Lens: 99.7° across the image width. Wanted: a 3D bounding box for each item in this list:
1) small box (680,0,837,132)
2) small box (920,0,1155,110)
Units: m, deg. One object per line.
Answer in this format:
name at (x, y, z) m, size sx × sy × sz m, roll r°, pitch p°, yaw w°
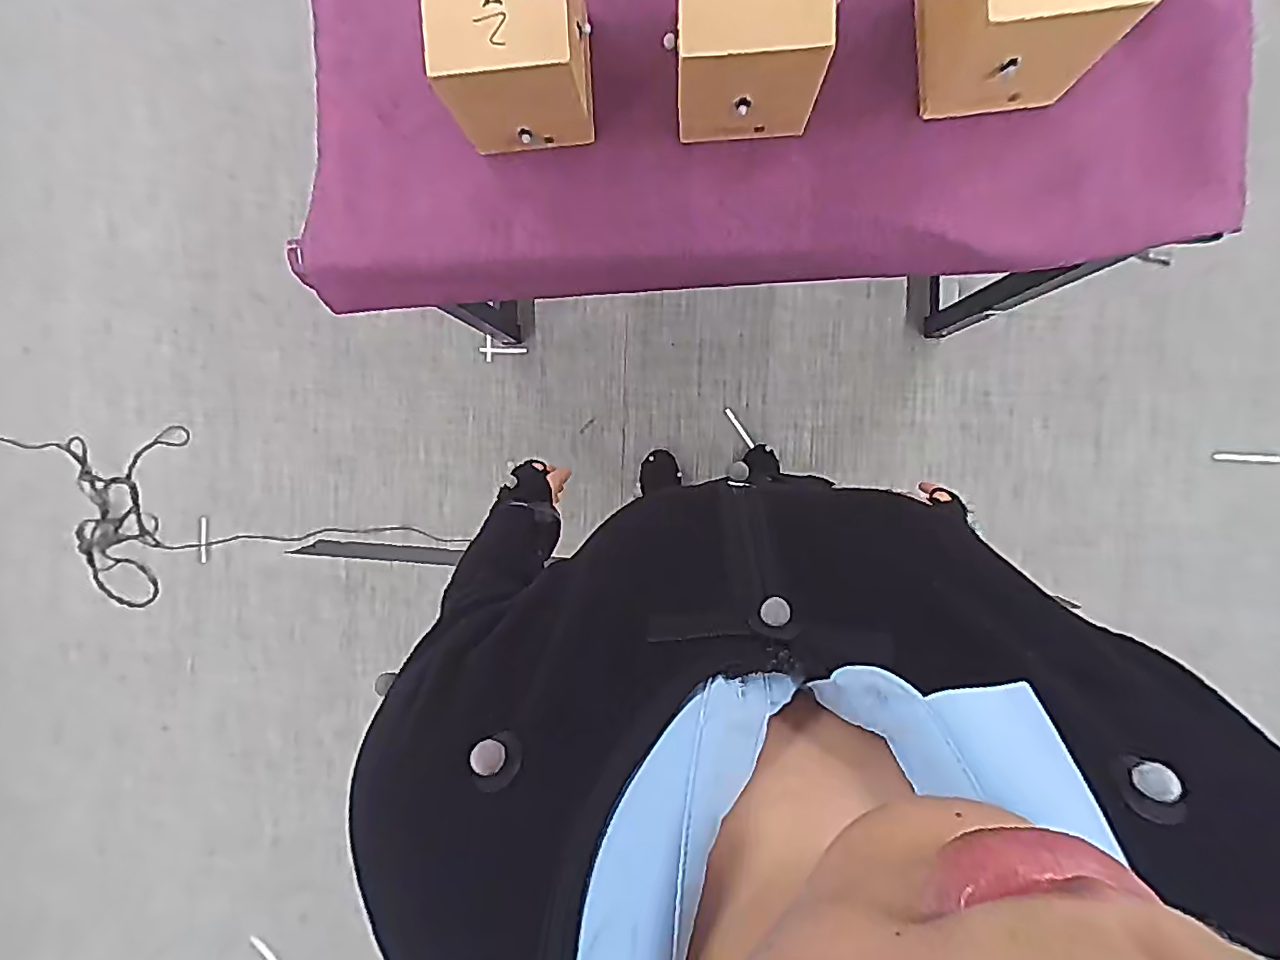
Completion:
small box at (0.133, -0.548, 0.649) m, size 0.168 × 0.176 × 0.179 m, roll 0°, pitch 93°, yaw 4°
small box at (0.441, -0.562, 0.623) m, size 0.168 × 0.176 × 0.179 m, roll -3°, pitch 92°, yaw 6°
